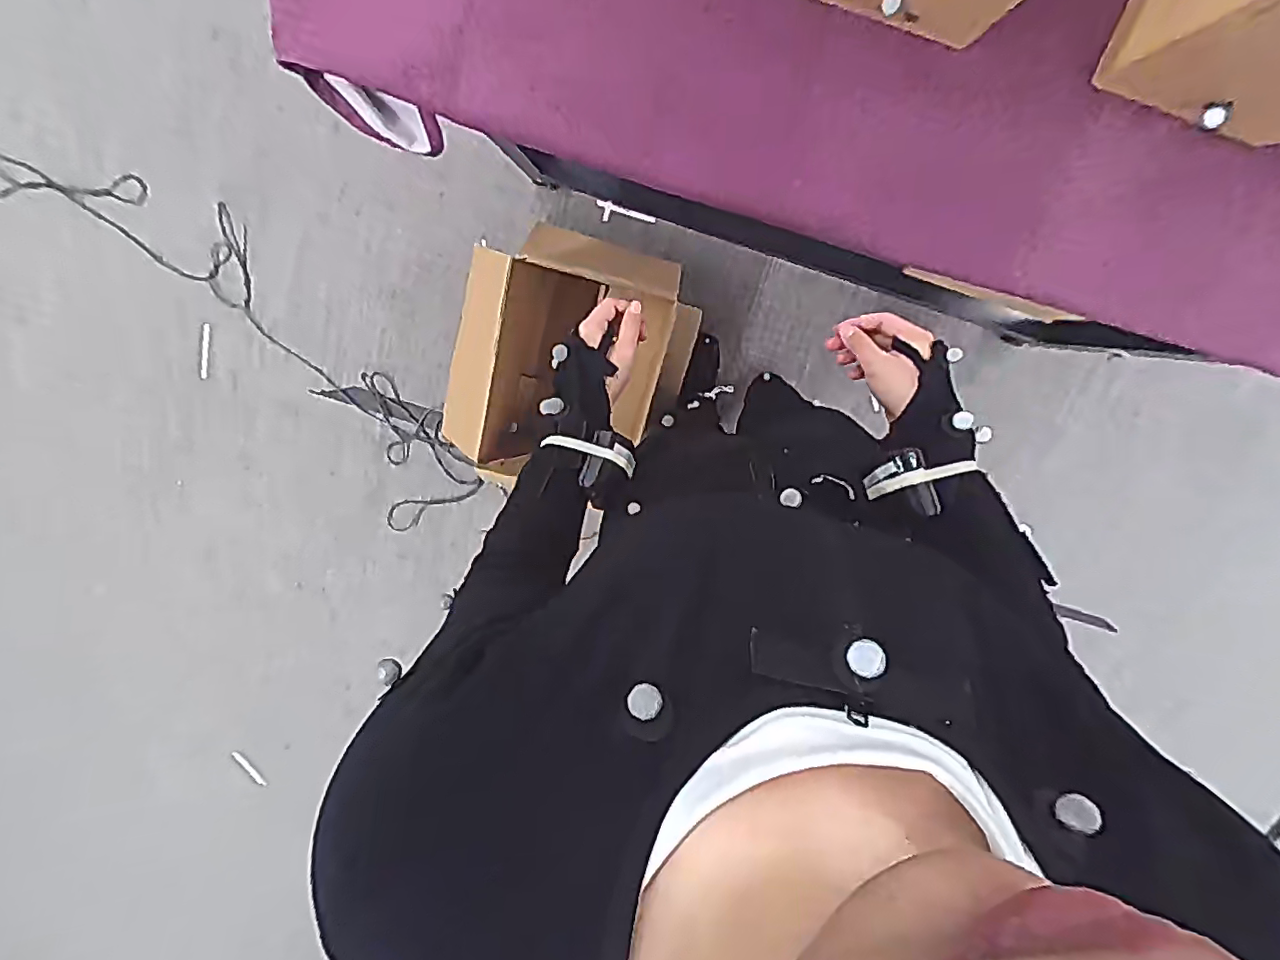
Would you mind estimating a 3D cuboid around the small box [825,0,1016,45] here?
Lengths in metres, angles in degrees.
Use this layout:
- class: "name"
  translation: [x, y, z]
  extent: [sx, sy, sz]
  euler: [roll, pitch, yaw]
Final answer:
- class: "small box"
  translation: [0.244, -0.476, 0.394]
  extent: [0.168, 0.176, 0.179]
  euler: [16, 108, -3]

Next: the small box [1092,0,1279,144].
- class: "small box"
  translation: [0.520, -0.394, 0.407]
  extent: [0.179, 0.176, 0.168]
  euler: [18, 106, -3]
